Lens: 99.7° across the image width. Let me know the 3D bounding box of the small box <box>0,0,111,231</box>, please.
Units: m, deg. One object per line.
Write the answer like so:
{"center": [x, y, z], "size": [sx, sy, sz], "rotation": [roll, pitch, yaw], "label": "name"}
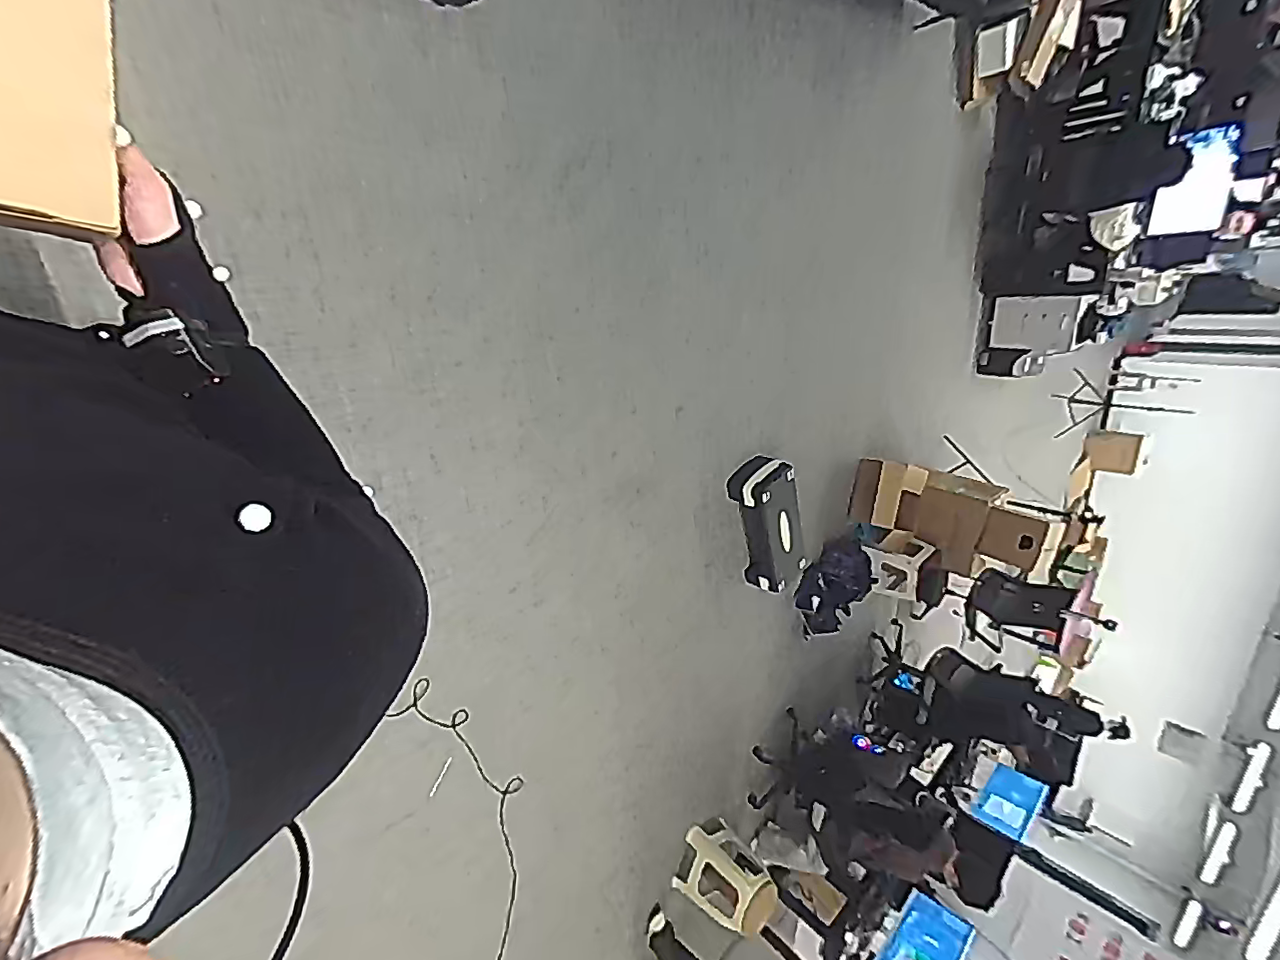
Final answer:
{"center": [-0.431, -0.256, 0.312], "size": [0.168, 0.176, 0.179], "rotation": [-6, 109, -50], "label": "small box"}
